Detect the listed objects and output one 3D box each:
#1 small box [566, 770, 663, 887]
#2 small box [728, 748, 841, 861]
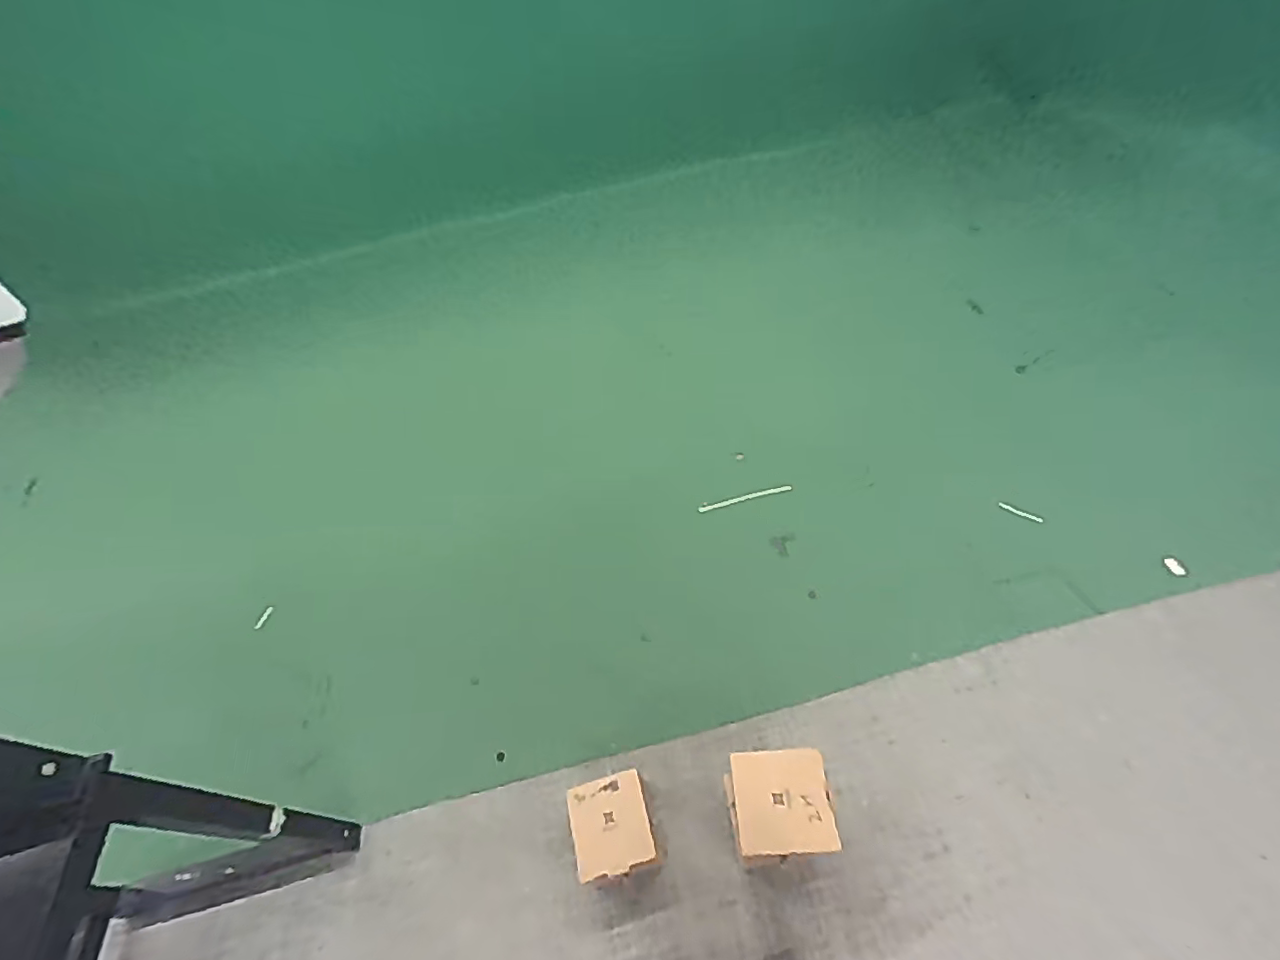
[{"bbox_3d":[-0.053,0.770,1.192,0.168,0.176,0.179,-16,51,-3],"label":"small box"},{"bbox_3d":[0.268,0.626,1.039,0.179,0.176,0.168,-6,52,5],"label":"small box"}]
